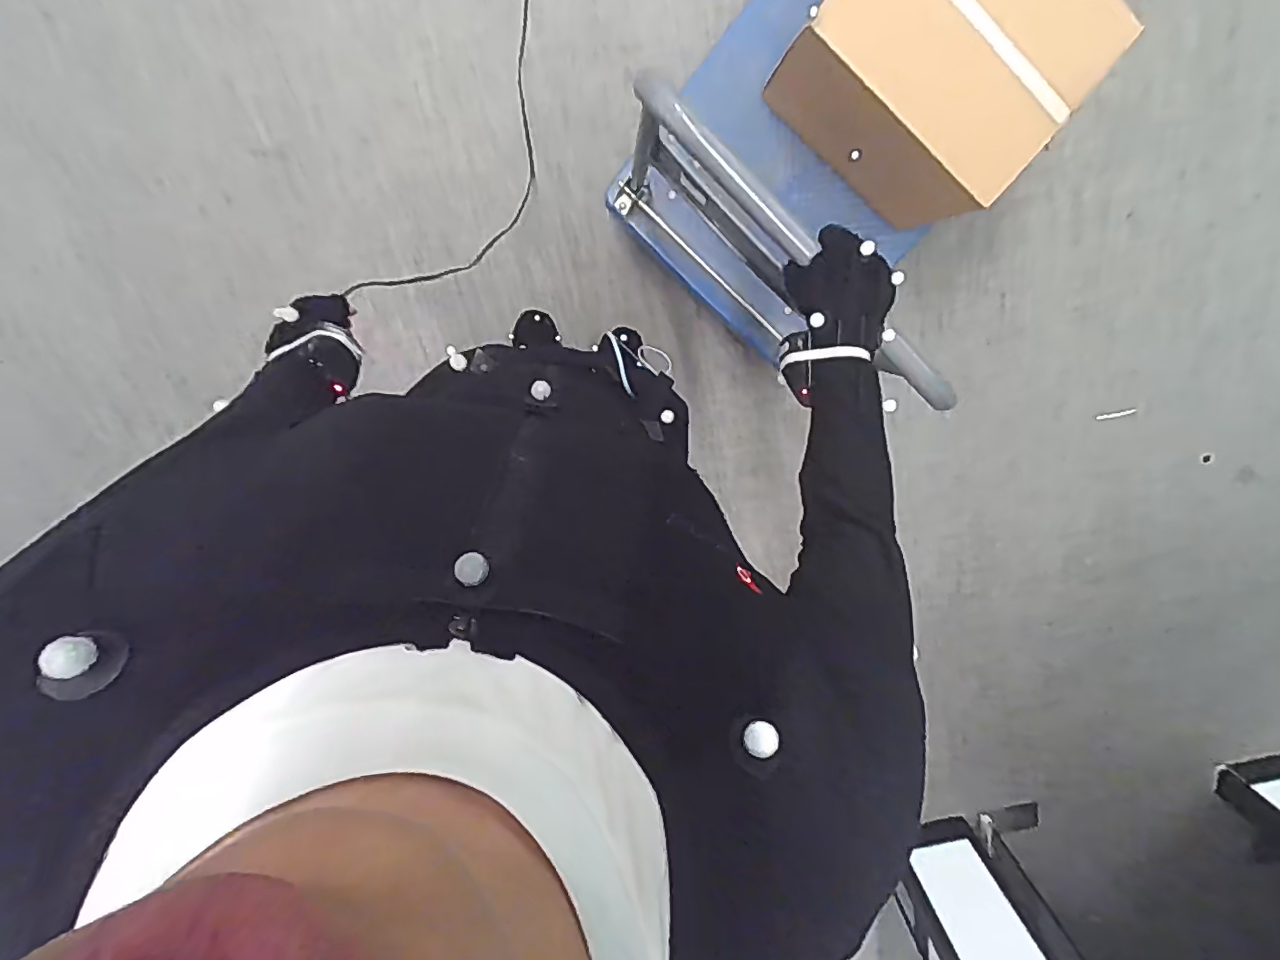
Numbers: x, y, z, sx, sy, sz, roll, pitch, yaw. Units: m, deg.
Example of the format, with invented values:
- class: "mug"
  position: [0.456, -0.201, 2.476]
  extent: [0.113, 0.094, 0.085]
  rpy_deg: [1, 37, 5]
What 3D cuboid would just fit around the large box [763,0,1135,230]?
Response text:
- class: "large box"
  position: [0.490, -0.706, 0.943]
  extent: [0.408, 0.320, 0.320]
  rpy_deg: [36, 104, -12]
